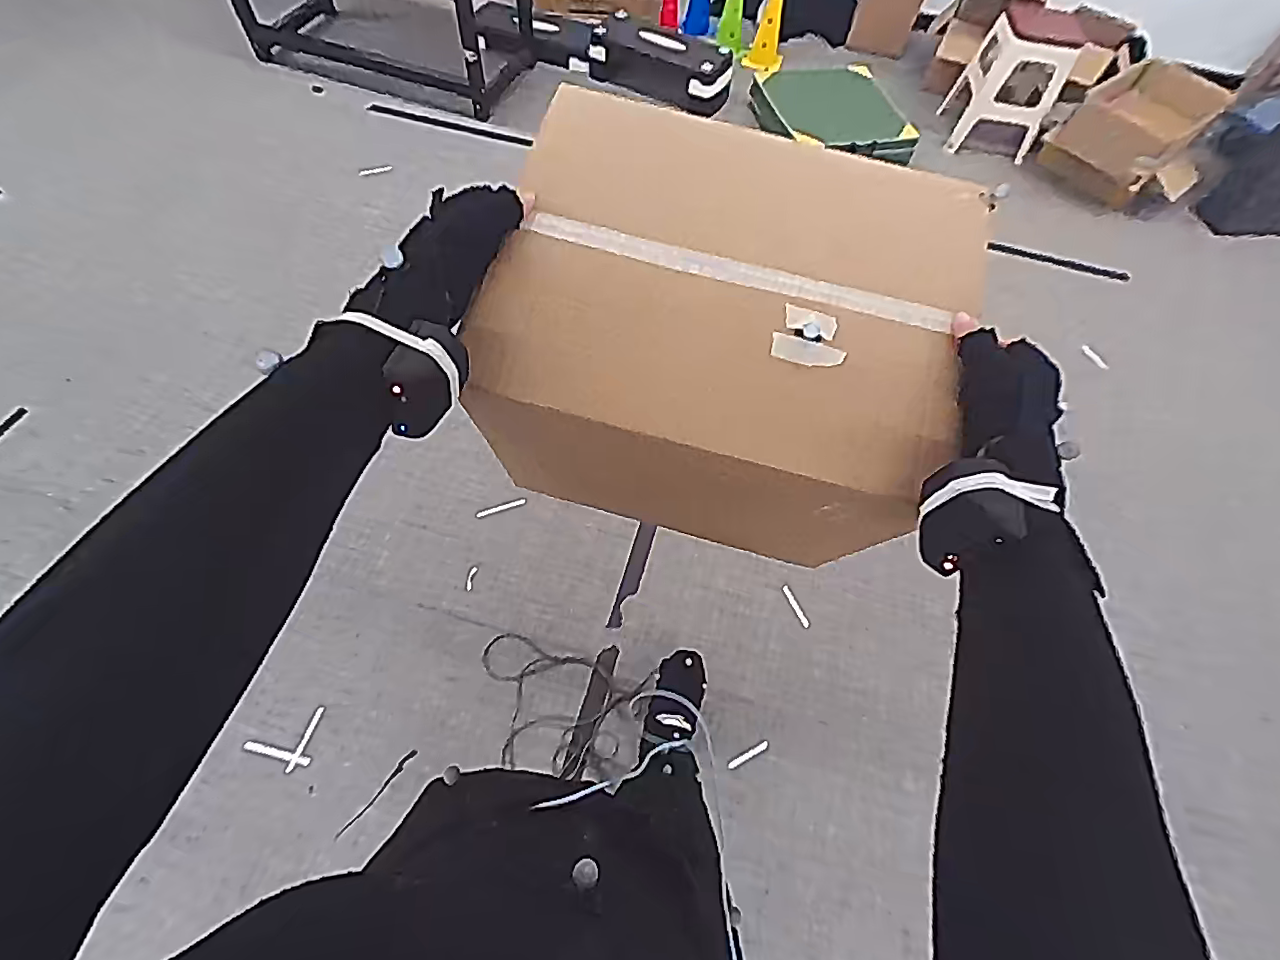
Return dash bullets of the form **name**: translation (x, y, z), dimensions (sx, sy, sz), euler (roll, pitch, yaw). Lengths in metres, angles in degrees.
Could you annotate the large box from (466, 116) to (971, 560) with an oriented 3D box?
- **large box**: translation (0.077, -0.123, 0.615), dimensions (0.408, 0.320, 0.320), euler (15, 74, 2)
